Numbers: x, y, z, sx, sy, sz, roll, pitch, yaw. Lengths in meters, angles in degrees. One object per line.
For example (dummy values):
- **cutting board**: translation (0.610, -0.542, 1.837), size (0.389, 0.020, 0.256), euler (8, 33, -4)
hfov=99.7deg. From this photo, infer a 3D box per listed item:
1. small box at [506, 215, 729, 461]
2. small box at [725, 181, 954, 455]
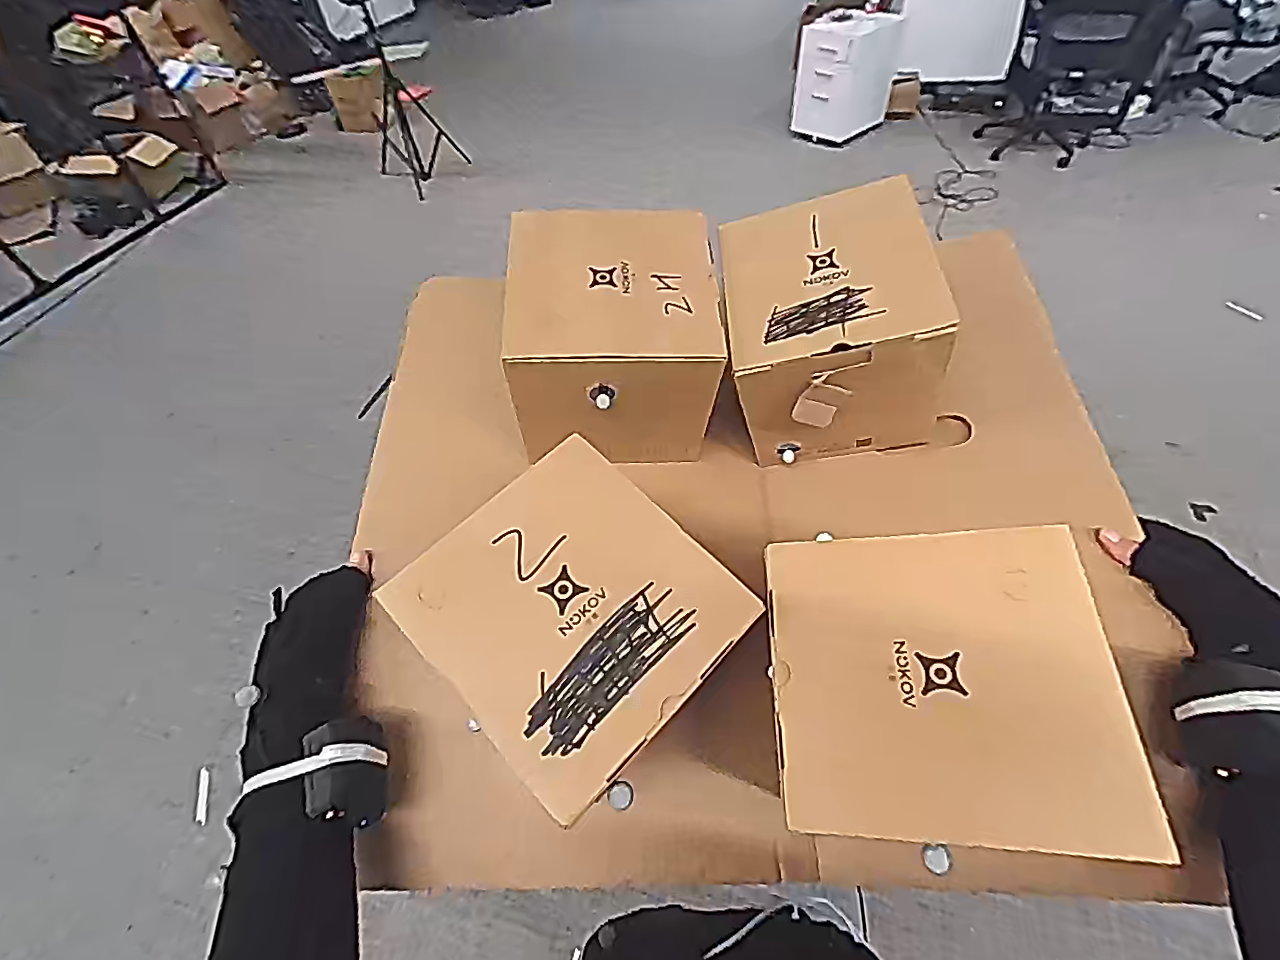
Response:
- **small box**: translation (-0.021, -0.127, 0.522), size (0.179, 0.176, 0.168), euler (0, 64, -3)
- **small box**: translation (0.181, -0.136, 0.518), size (0.168, 0.176, 0.179), euler (-8, 61, 17)
